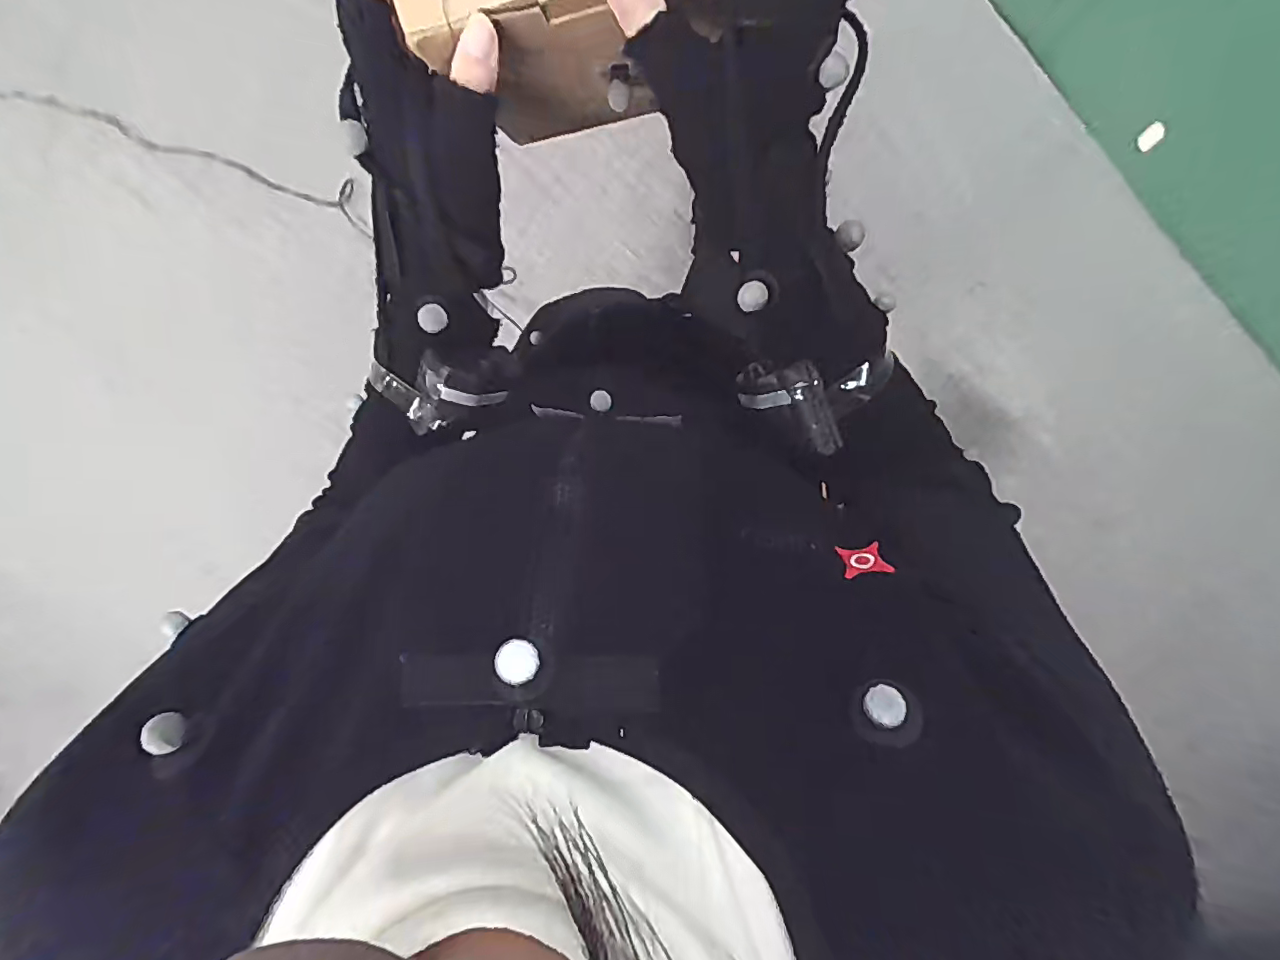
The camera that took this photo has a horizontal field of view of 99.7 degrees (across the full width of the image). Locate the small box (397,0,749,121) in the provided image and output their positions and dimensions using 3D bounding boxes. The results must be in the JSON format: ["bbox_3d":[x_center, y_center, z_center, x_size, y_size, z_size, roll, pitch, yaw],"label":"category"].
[{"bbox_3d":[-0.034,-0.314,0.278,0.168,0.176,0.179,-10,107,8],"label":"small box"}]
